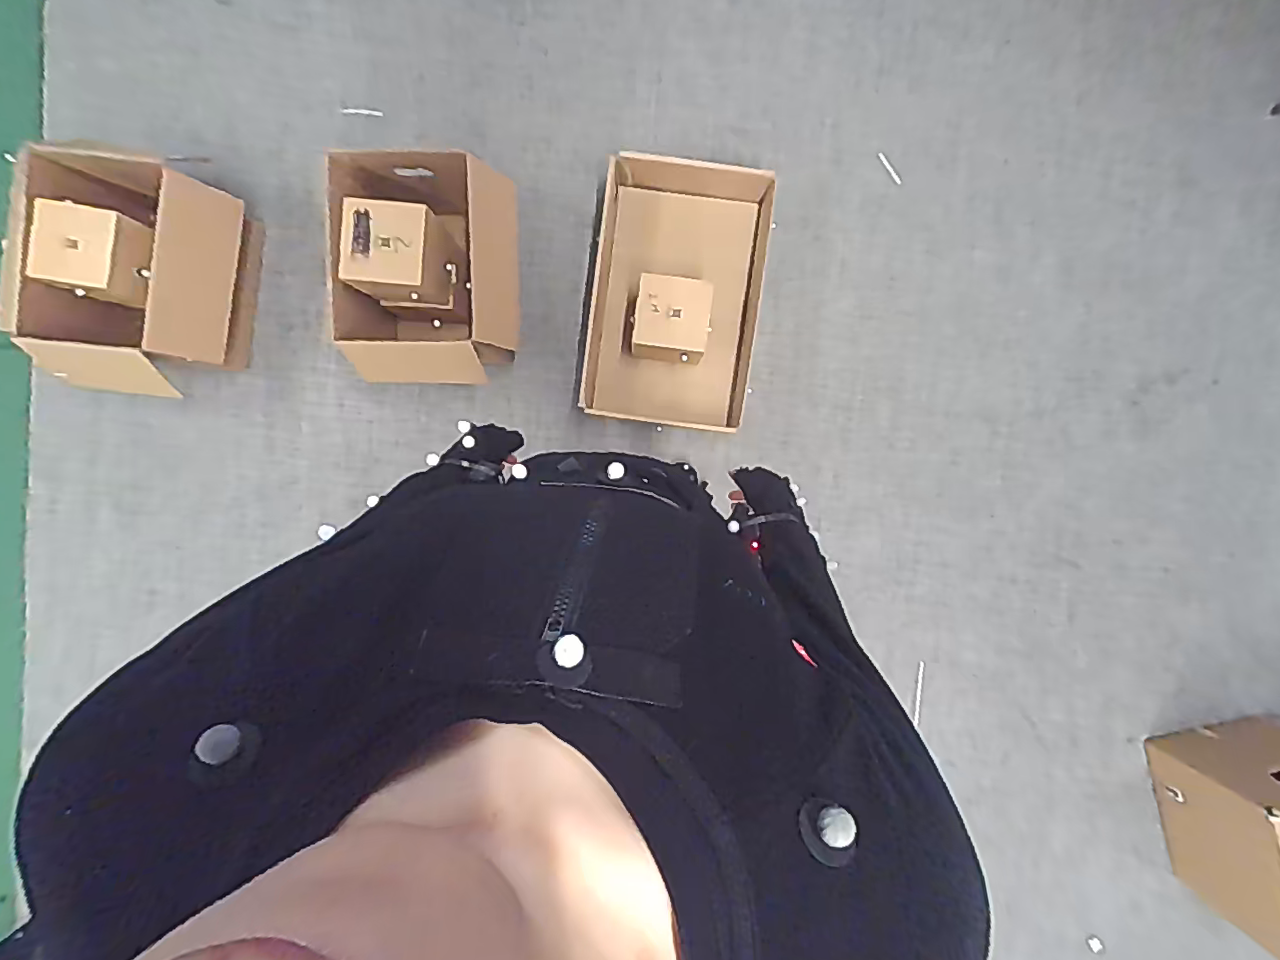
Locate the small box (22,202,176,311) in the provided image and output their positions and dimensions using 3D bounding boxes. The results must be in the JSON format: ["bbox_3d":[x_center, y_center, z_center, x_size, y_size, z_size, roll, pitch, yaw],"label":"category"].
[{"bbox_3d":[-1.194,-0.489,1.207,0.179,0.176,0.168,9,92,-1],"label":"small box"}]
